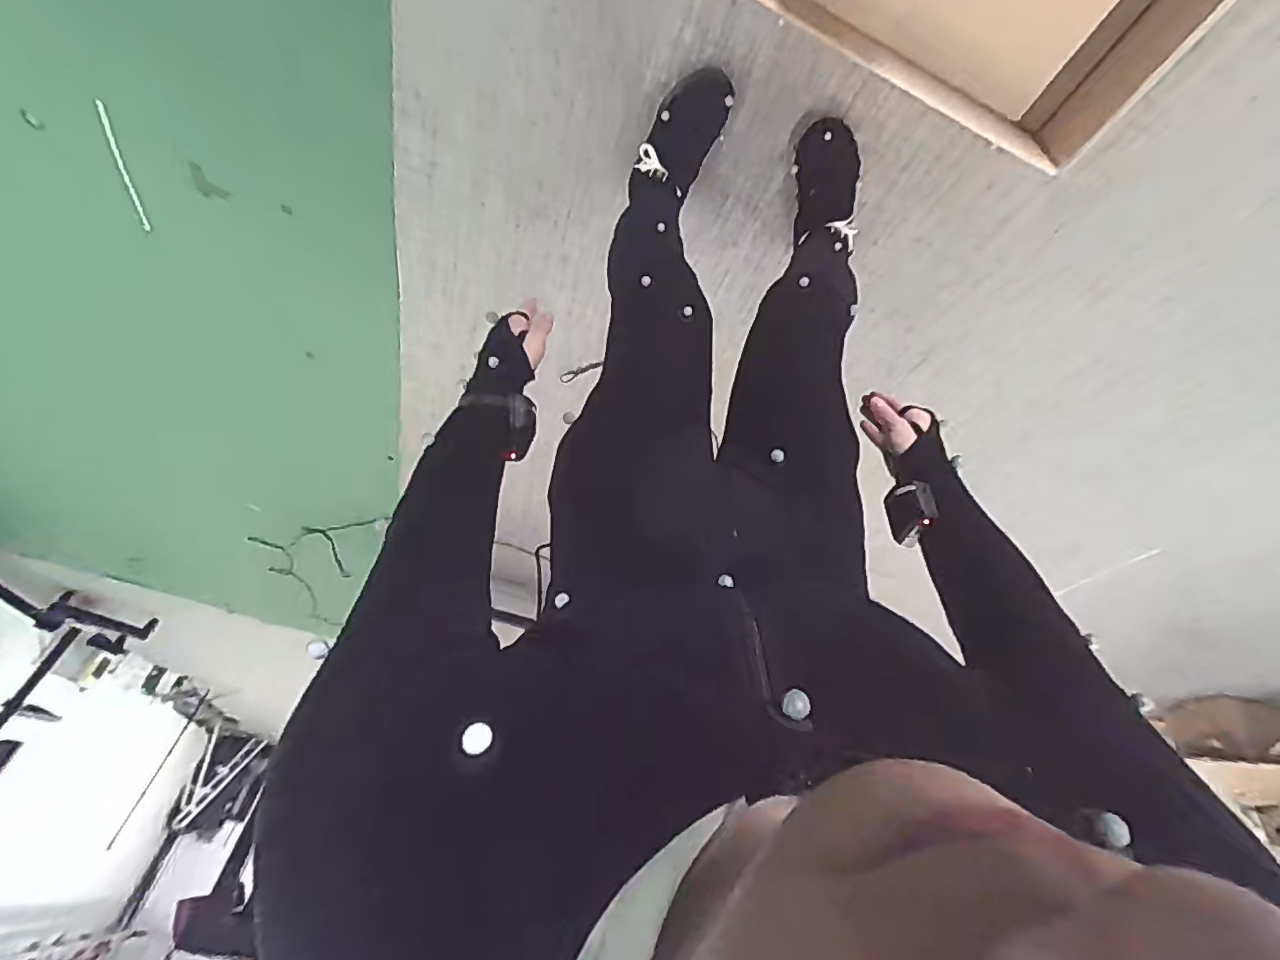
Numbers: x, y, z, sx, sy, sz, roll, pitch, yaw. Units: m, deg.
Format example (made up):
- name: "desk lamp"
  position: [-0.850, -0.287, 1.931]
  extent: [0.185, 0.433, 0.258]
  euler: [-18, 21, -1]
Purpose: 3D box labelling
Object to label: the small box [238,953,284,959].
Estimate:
- name: "small box"
  position: [-1.103, 1.491, 1.550]
  extent: [0.179, 0.176, 0.168]
  euler: [19, 142, -10]
